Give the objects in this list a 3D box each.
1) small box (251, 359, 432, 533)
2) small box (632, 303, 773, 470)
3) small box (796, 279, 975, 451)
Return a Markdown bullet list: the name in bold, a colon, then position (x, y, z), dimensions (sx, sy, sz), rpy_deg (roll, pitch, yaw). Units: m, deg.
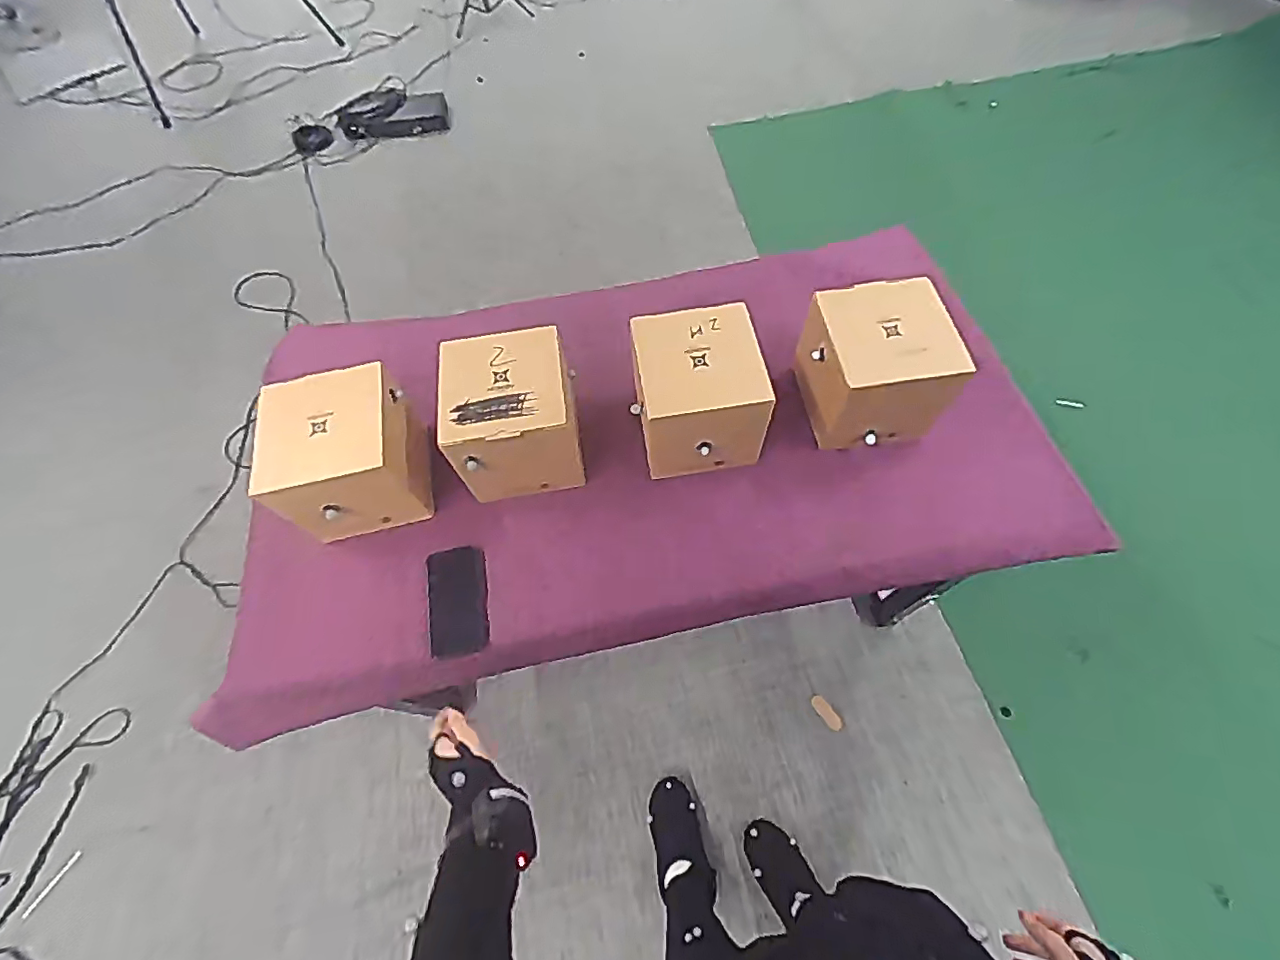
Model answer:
- **small box**: position (-0.409, -0.038, 0.771), dimensions (0.168, 0.176, 0.179), rpy_deg (-13, 61, -4)
- **small box**: position (0.083, -0.126, 0.789), dimensions (0.168, 0.176, 0.179), rpy_deg (-8, 62, -1)
- **small box**: position (0.341, -0.164, 0.796), dimensions (0.168, 0.176, 0.179), rpy_deg (-7, 62, 1)
